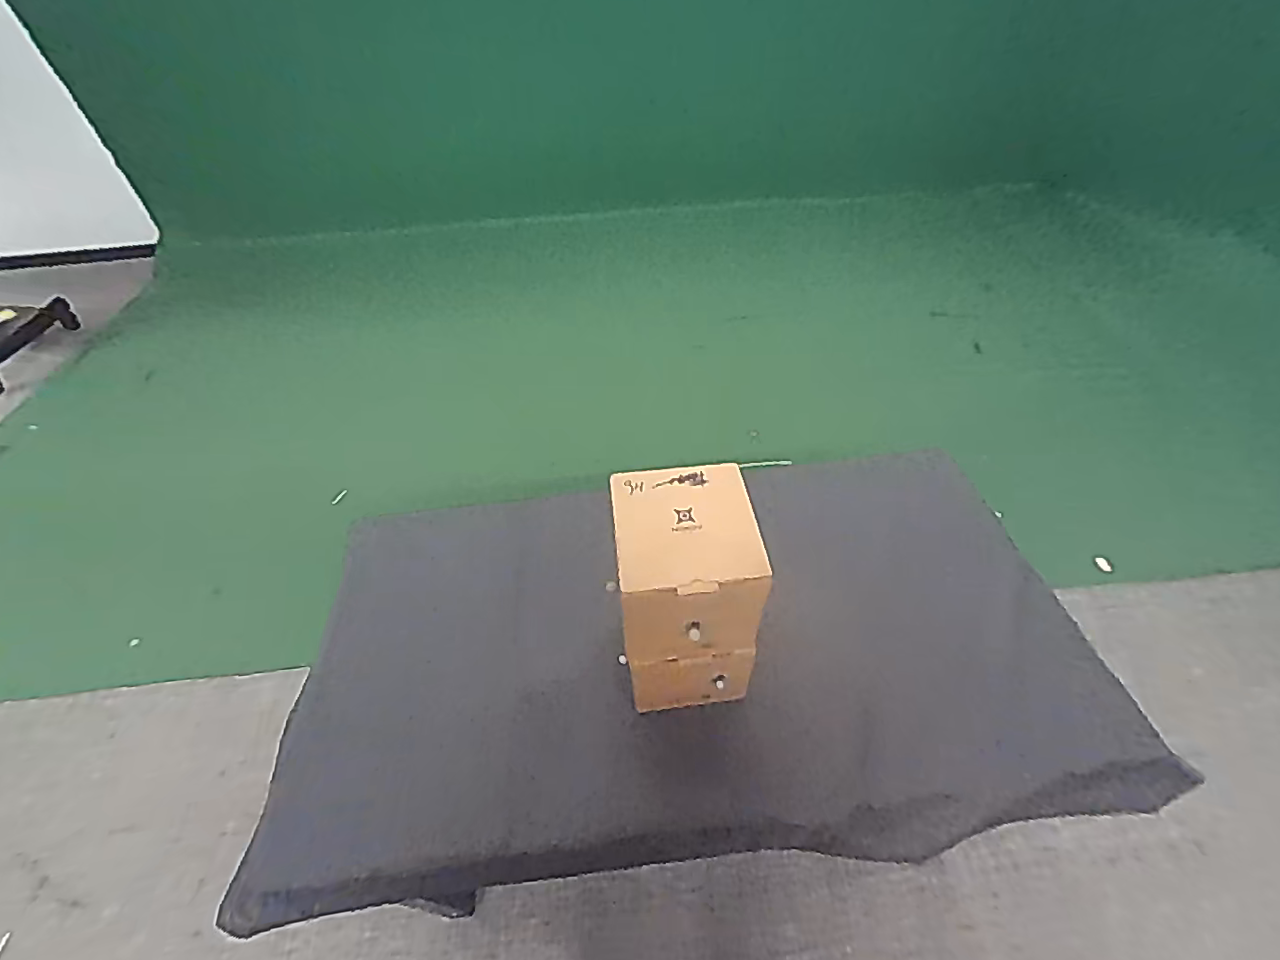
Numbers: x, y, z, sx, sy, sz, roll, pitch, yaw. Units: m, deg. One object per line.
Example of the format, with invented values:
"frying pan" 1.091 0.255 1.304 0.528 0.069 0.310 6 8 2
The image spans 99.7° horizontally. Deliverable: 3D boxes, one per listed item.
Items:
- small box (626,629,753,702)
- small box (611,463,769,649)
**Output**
"small box" 0.061 0.216 0.809 0.168 0.176 0.179 -6 47 -4
"small box" 0.053 0.103 0.691 0.168 0.176 0.179 -5 49 -4
